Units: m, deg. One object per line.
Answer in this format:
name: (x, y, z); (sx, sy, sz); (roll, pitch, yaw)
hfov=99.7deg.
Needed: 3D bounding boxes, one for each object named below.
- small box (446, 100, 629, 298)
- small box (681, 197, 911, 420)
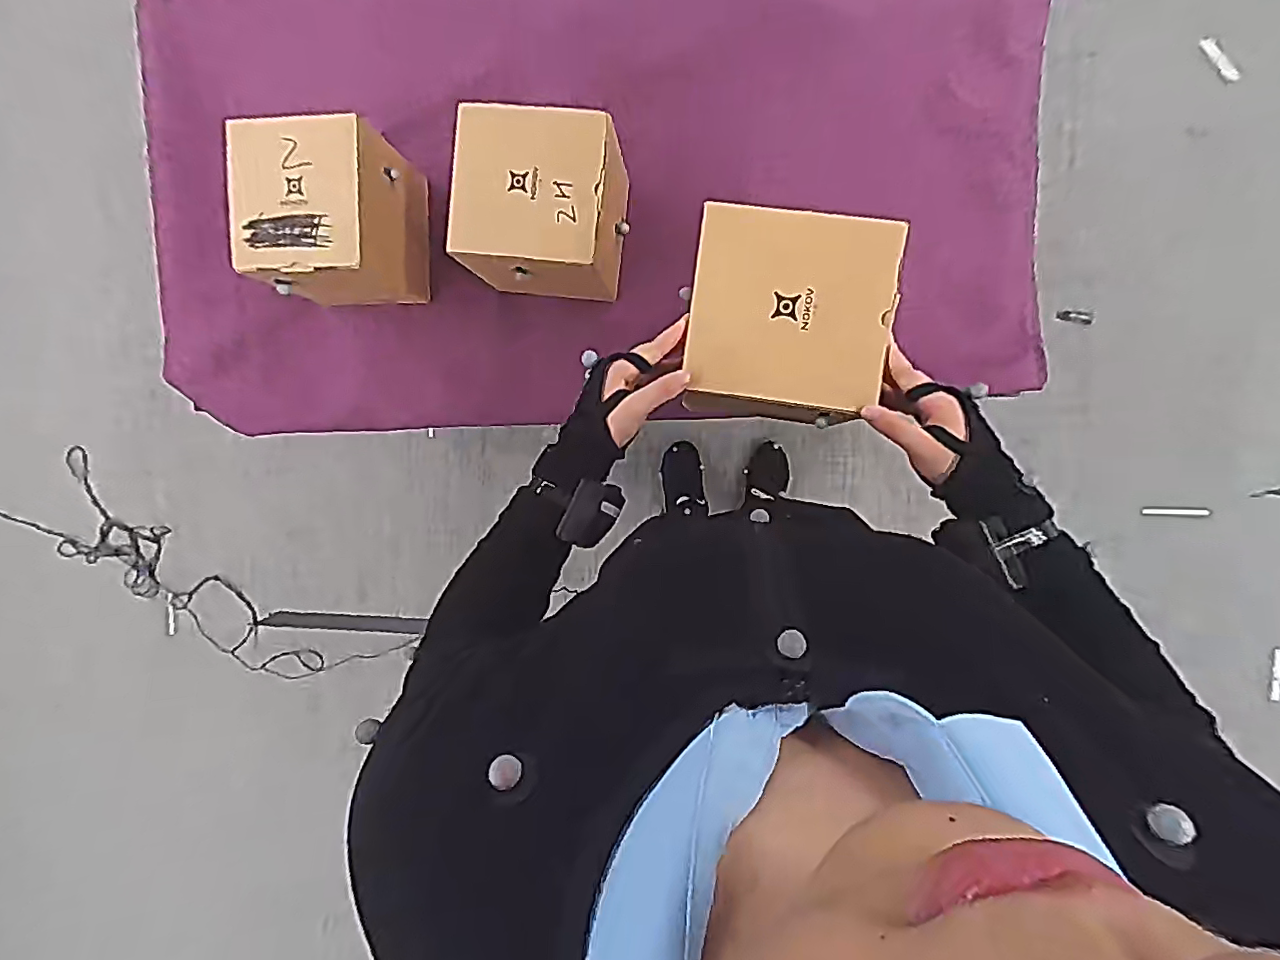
small box: (-0.118, -0.337, 0.680); (0.179, 0.176, 0.168); (8, 95, 5)
small box: (0.138, -0.156, 0.544); (0.179, 0.176, 0.168); (8, 93, 4)
